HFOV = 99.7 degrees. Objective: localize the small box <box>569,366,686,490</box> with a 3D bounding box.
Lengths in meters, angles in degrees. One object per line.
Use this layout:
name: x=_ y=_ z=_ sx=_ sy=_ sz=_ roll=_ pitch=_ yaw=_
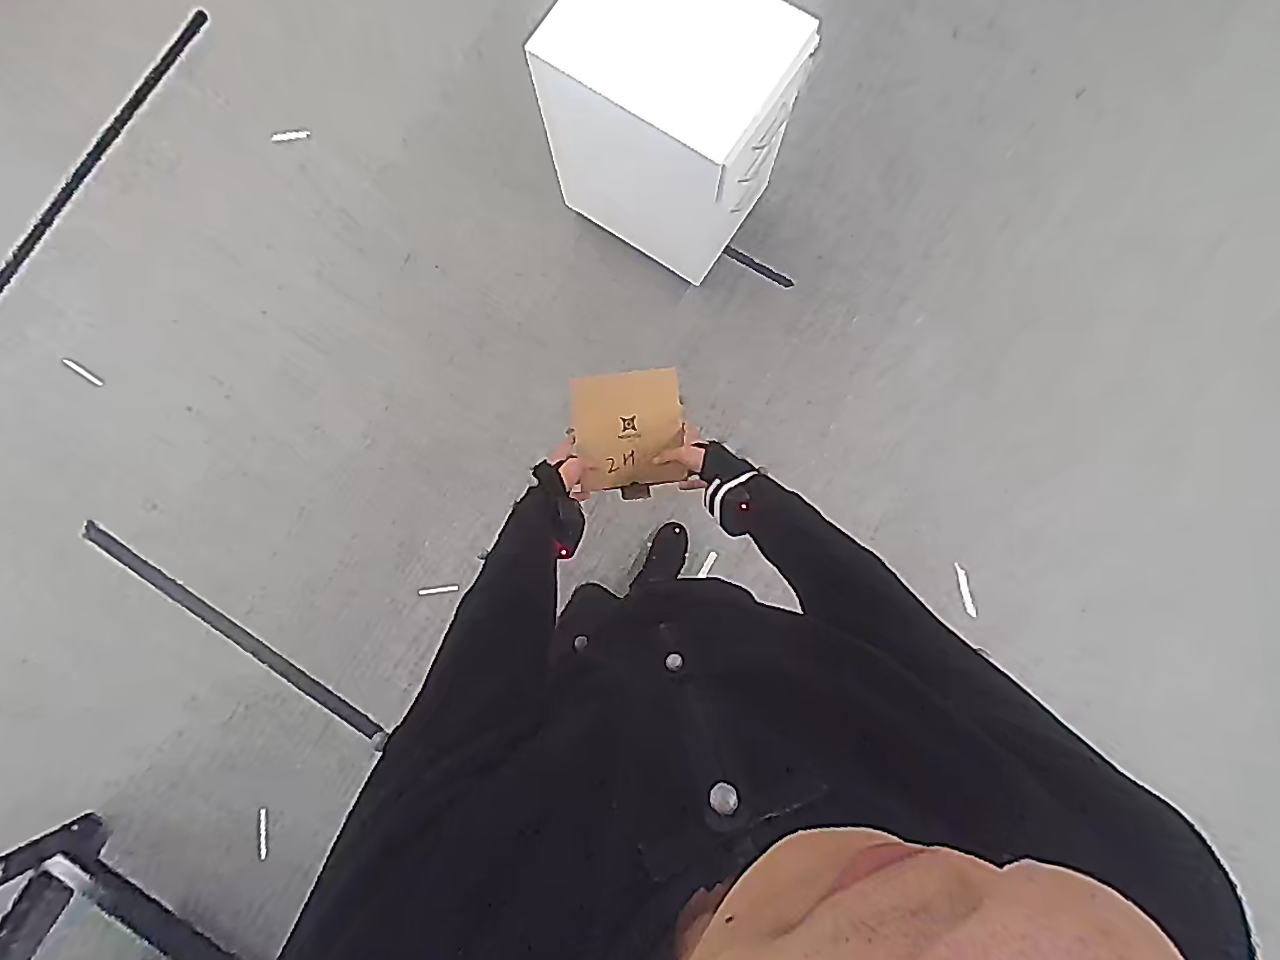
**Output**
small box: x=-0.022 y=-0.080 z=0.895 sx=0.168 sy=0.176 sz=0.179 roll=-7 pitch=93 yaw=-1
